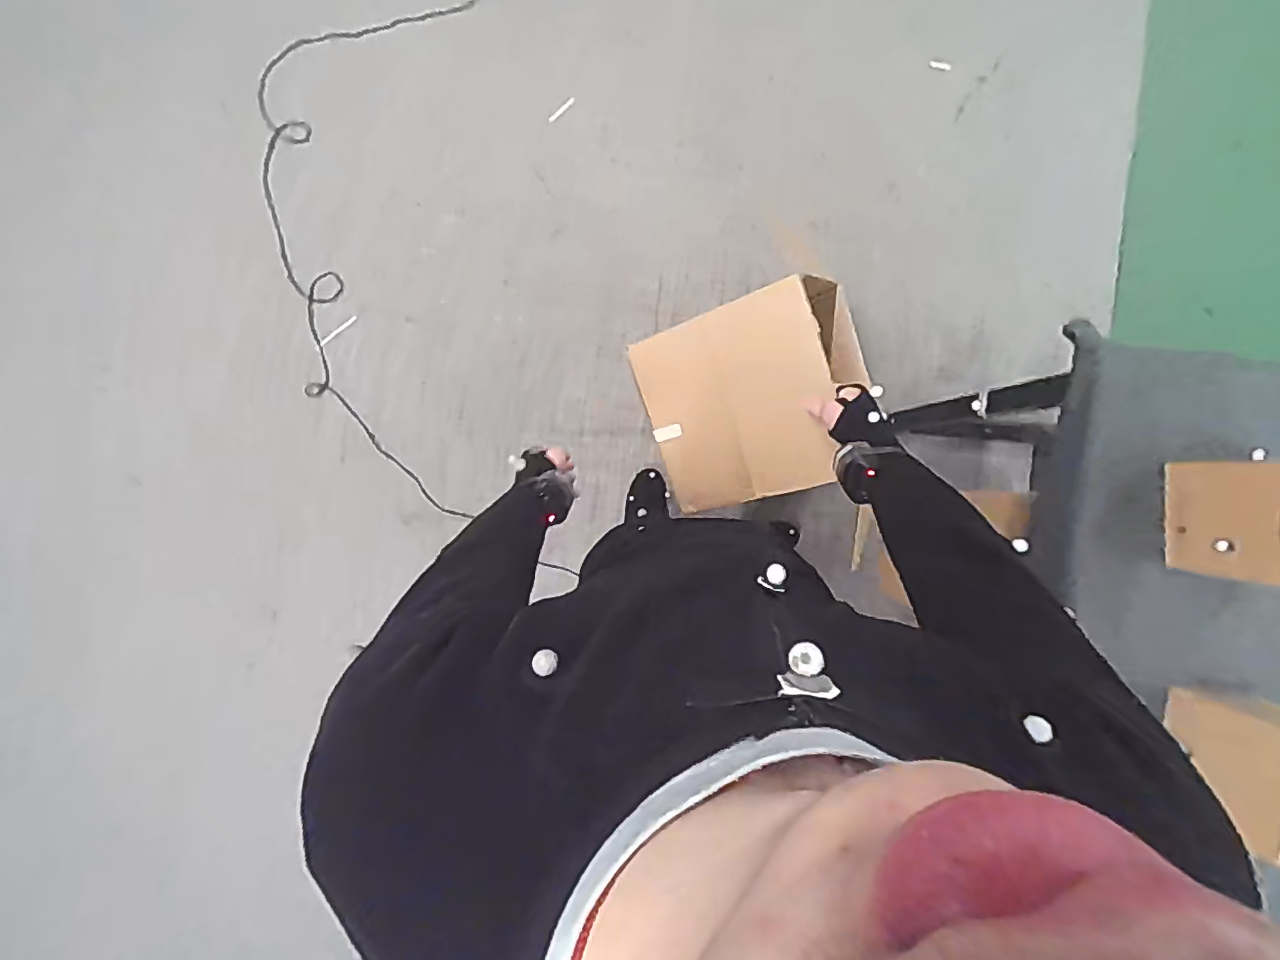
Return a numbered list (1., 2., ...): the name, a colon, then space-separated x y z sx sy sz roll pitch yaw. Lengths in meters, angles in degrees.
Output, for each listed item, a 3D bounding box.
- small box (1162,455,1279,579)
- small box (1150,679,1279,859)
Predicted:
1. small box: 0.913 0.048 0.780 0.179 0.176 0.168 -2 93 -5
2. small box: 0.906 0.417 0.787 0.168 0.176 0.179 8 92 -3
